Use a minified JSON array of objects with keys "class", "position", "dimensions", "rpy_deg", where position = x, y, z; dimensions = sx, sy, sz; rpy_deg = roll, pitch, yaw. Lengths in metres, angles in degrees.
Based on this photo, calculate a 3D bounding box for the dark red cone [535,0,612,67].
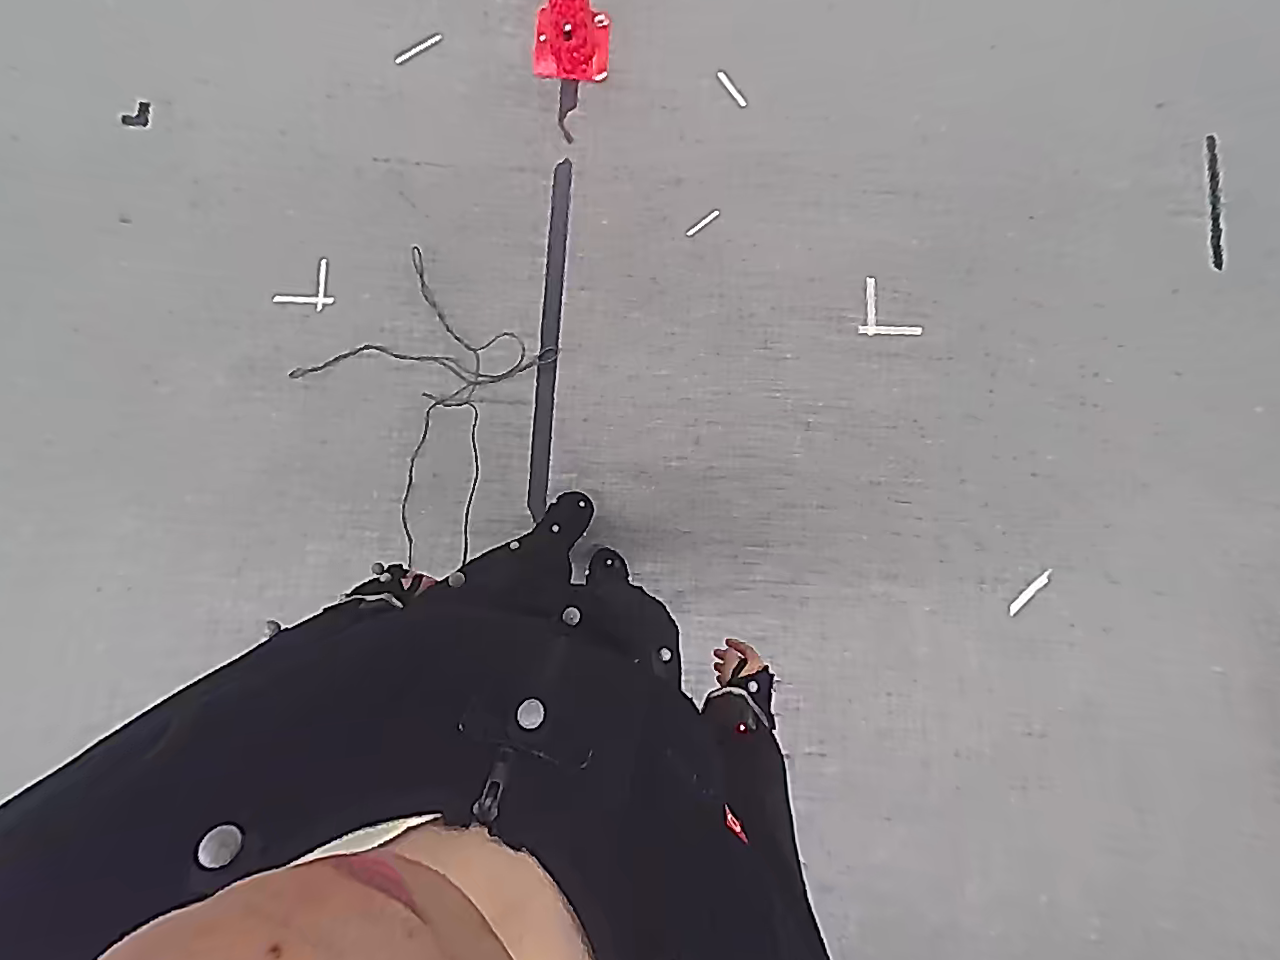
[{"class":"dark red cone","position":[-0.173,-1.210,1.274],"dimensions":[0.201,0.394,0.202],"rpy_deg":[3,87,-1]}]
